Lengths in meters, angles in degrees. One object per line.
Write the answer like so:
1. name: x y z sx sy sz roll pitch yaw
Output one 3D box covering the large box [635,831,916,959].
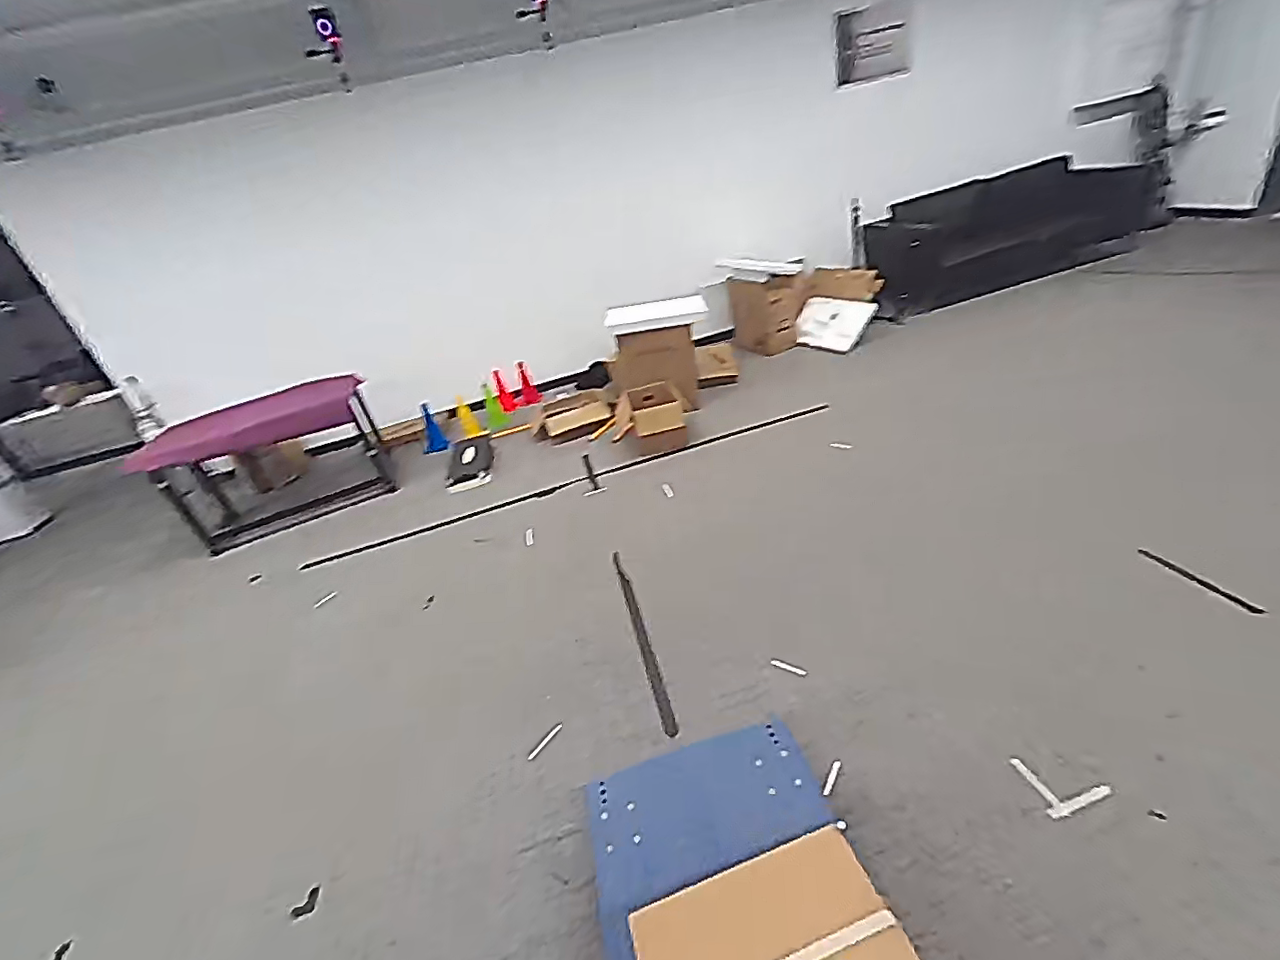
1. large box: 0.243 0.890 0.894 0.408 0.320 0.320 -17 30 -9
